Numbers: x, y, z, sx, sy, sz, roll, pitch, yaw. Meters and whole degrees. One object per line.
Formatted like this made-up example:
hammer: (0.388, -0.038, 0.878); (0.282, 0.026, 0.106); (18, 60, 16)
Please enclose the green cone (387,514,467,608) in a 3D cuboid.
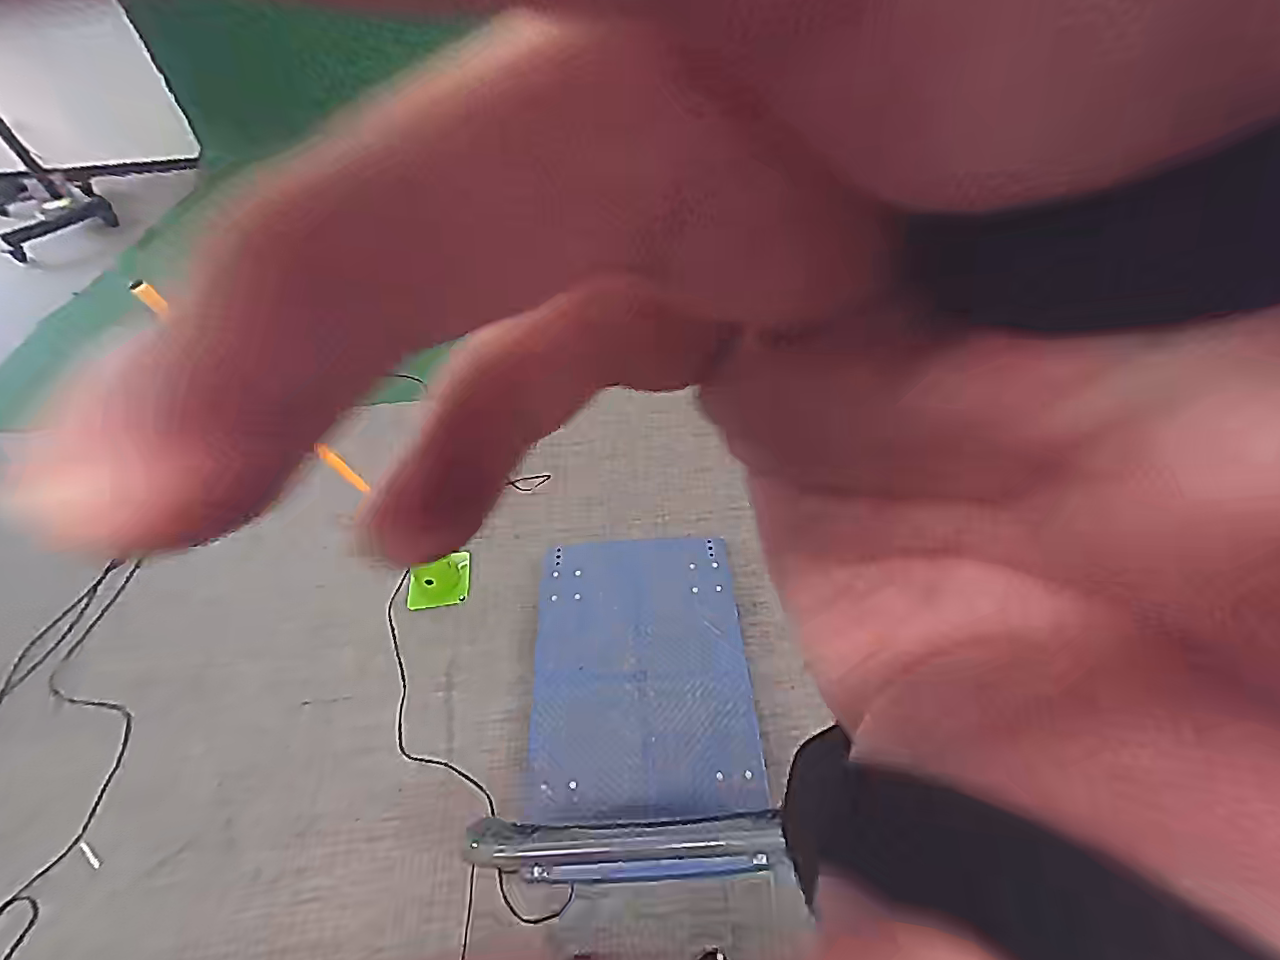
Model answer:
green cone: (-0.701, 0.223, 1.708); (0.202, 0.368, 0.200); (-9, 50, -3)
